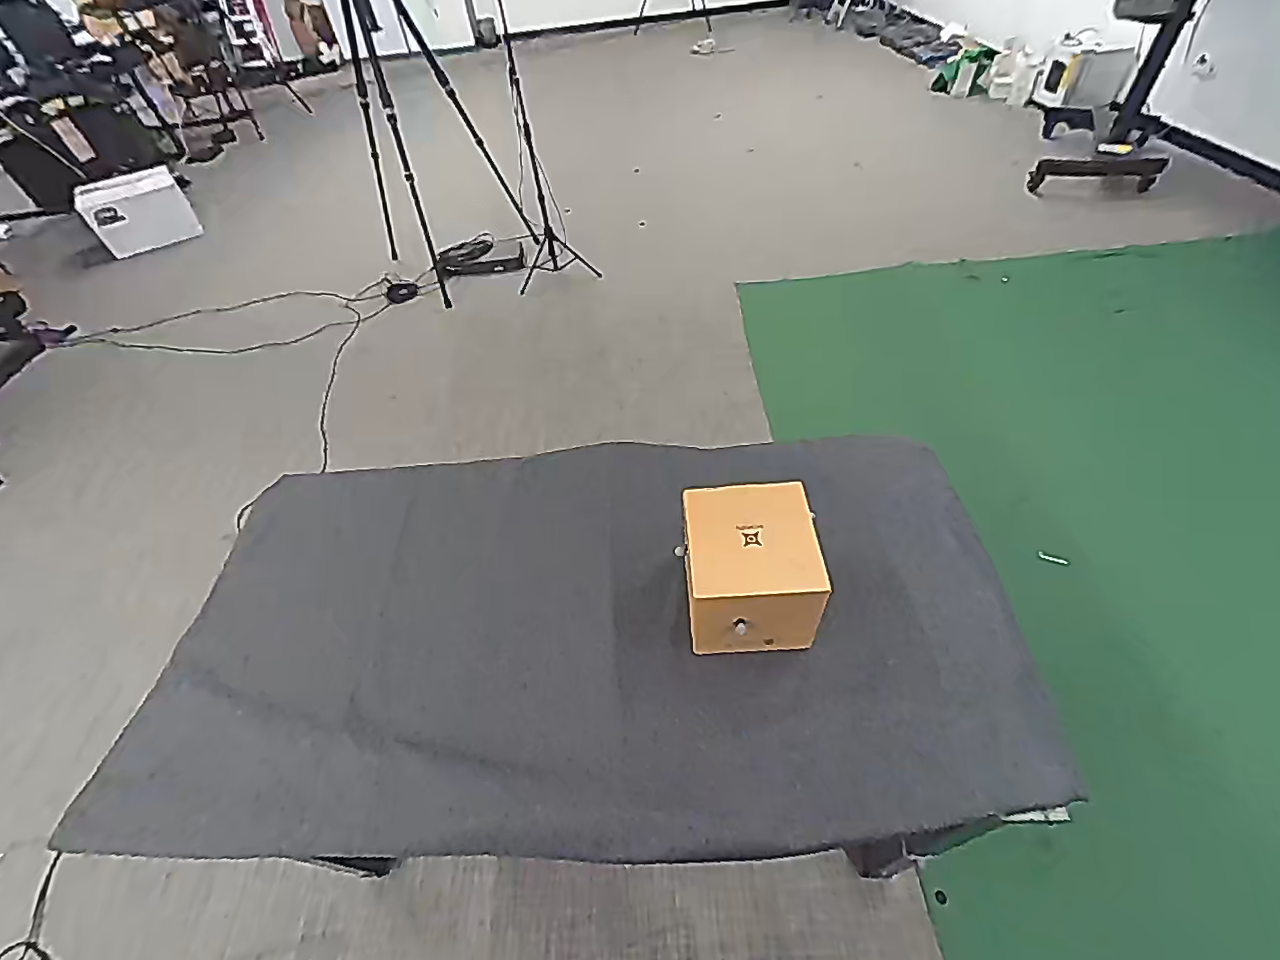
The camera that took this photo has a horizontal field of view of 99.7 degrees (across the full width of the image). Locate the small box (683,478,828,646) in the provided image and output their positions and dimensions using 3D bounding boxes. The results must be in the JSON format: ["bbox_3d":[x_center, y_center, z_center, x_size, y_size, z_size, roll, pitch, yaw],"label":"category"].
[{"bbox_3d":[0.151,0.121,0.757,0.168,0.176,0.179,-4,48,4],"label":"small box"}]
